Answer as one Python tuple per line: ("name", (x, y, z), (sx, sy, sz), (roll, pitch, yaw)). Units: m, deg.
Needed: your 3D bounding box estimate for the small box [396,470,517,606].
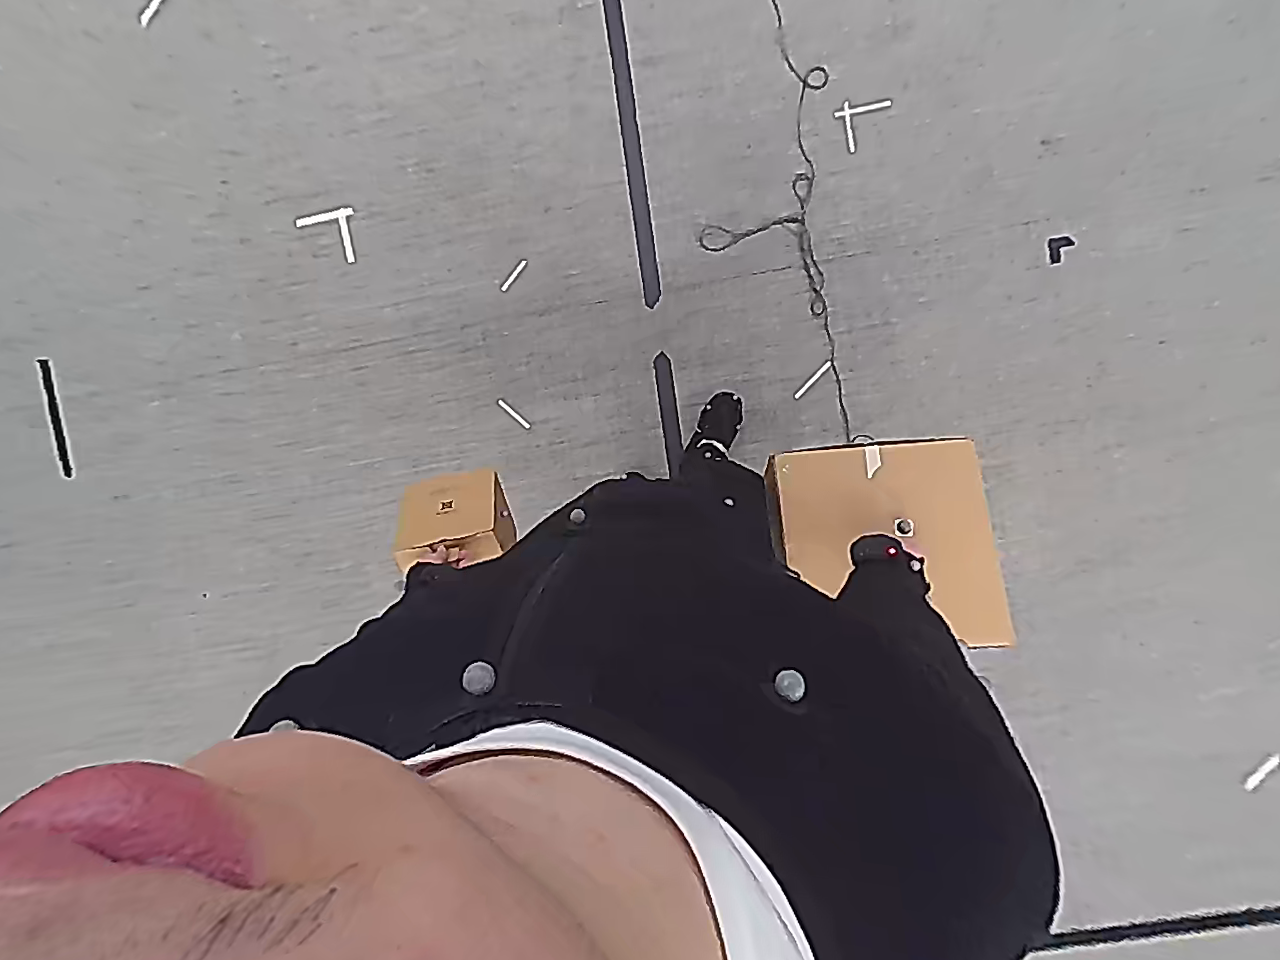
("small box", (-0.326, 0.111, 0.994), (0.168, 0.179, 0.176), (-11, 129, -6))
